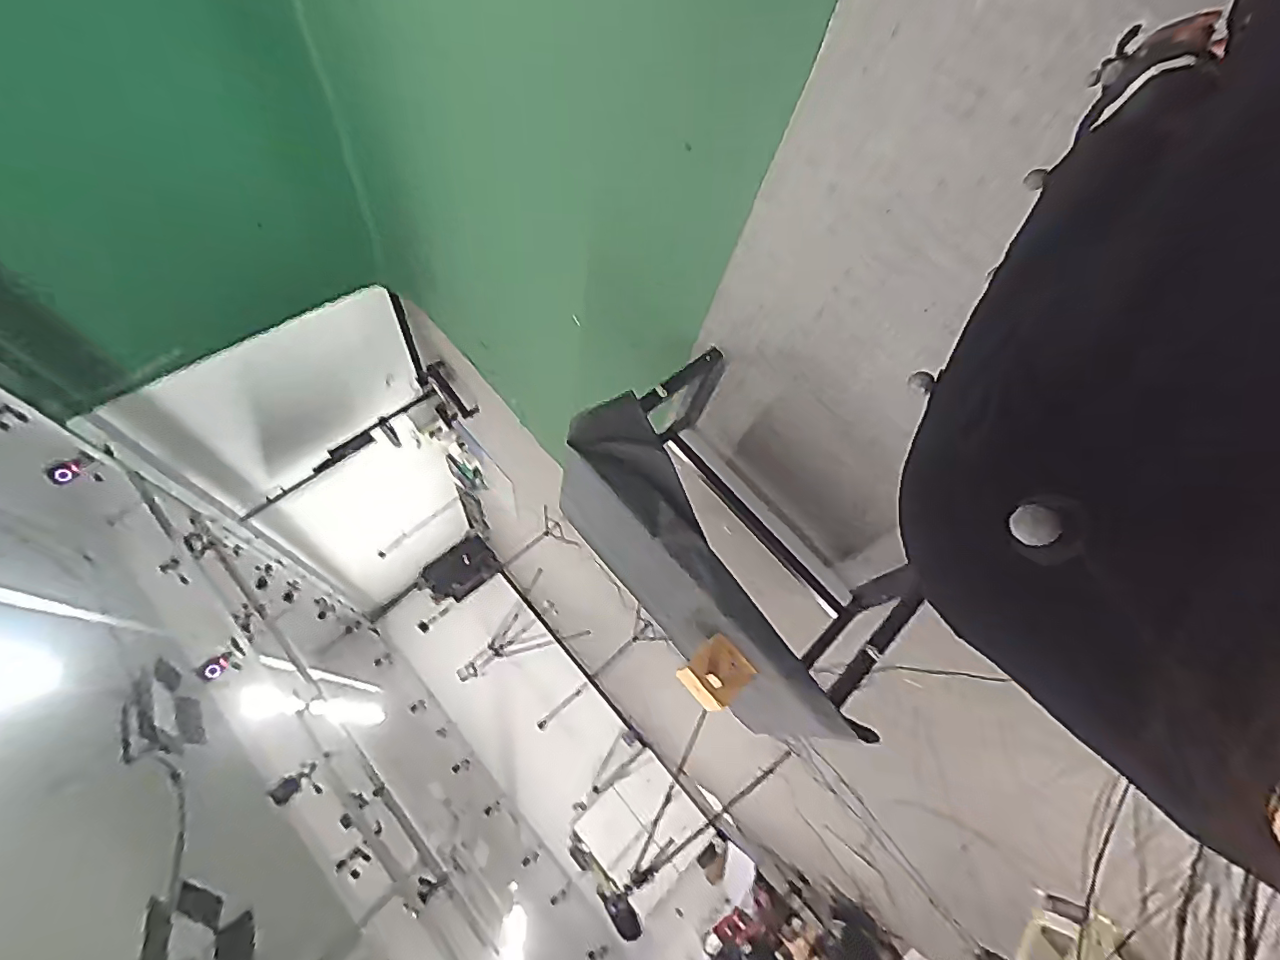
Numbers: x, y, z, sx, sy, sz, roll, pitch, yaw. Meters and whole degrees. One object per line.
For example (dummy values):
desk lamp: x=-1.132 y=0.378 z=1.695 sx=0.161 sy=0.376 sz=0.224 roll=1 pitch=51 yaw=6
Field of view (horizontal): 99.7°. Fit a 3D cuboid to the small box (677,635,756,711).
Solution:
small box: x=0.253 y=0.635 z=1.778 sx=0.168 sy=0.176 sz=0.179 roll=47 pitch=156 yaw=12
